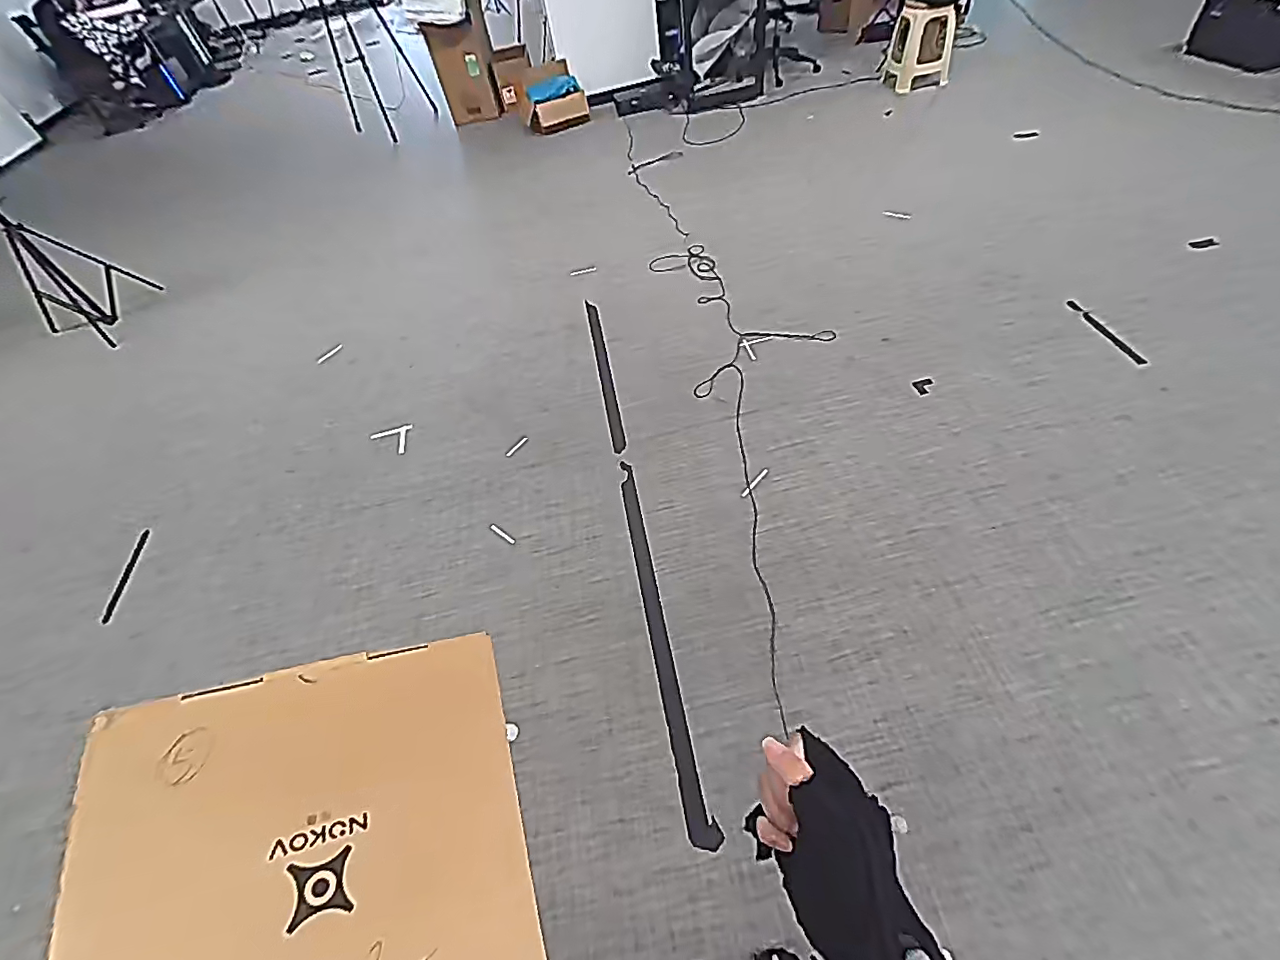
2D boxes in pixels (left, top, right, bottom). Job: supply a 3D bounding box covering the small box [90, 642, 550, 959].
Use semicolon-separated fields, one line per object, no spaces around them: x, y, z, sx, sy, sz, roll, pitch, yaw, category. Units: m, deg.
-0.154;0.214;0.297;0.168;0.176;0.179;-6;59;-23;small box
